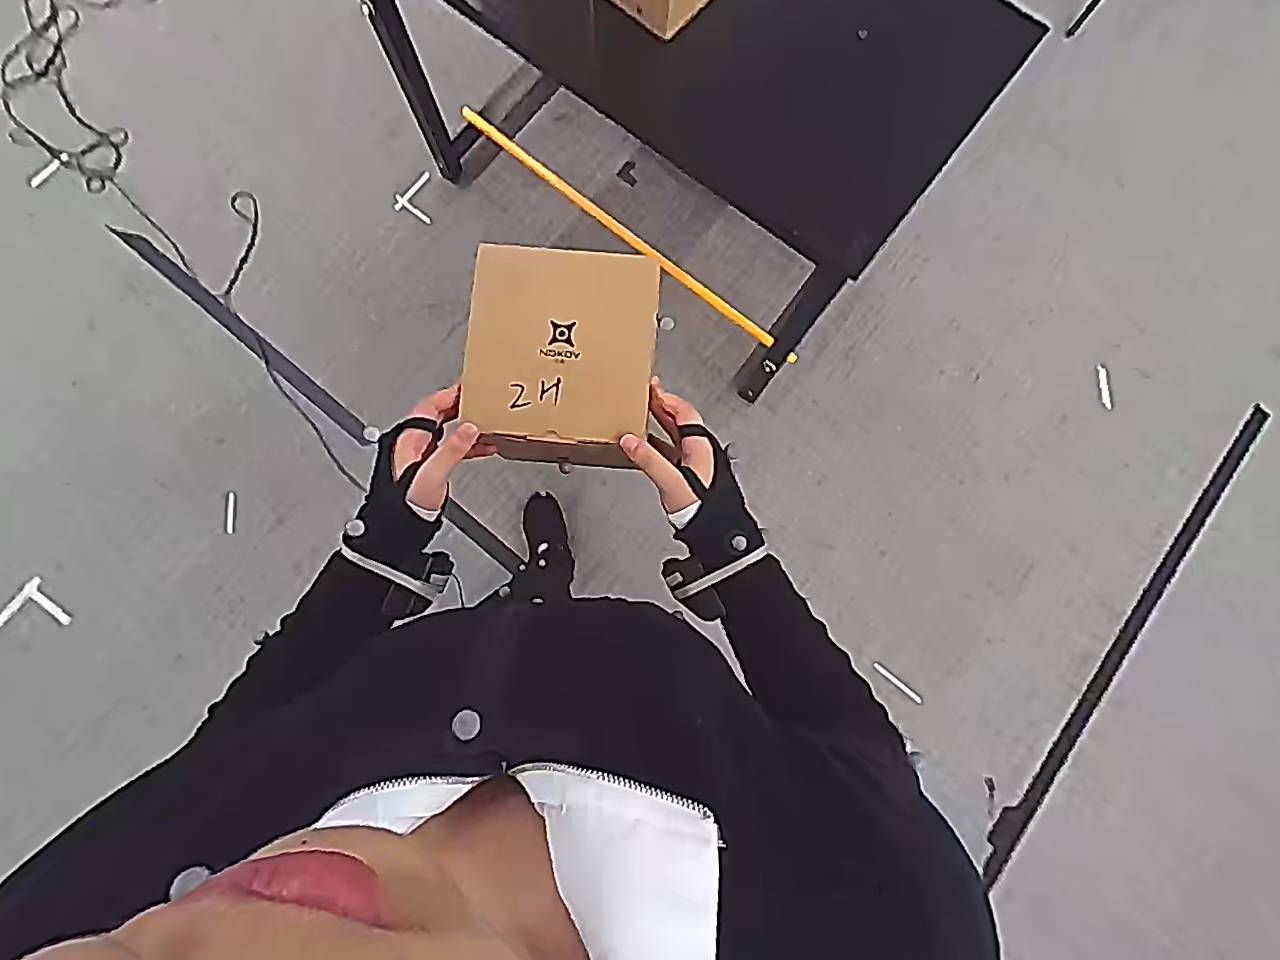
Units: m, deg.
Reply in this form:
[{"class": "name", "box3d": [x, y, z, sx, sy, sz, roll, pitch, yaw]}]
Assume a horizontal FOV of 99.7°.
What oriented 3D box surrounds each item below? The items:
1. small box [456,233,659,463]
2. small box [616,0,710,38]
[{"class": "small box", "box3d": [-0.072, -0.122, 0.557, 0.168, 0.176, 0.179, 5, 84, 1]}, {"class": "small box", "box3d": [0.040, -0.861, 0.850, 0.168, 0.176, 0.179, 40, 82, 4]}]
